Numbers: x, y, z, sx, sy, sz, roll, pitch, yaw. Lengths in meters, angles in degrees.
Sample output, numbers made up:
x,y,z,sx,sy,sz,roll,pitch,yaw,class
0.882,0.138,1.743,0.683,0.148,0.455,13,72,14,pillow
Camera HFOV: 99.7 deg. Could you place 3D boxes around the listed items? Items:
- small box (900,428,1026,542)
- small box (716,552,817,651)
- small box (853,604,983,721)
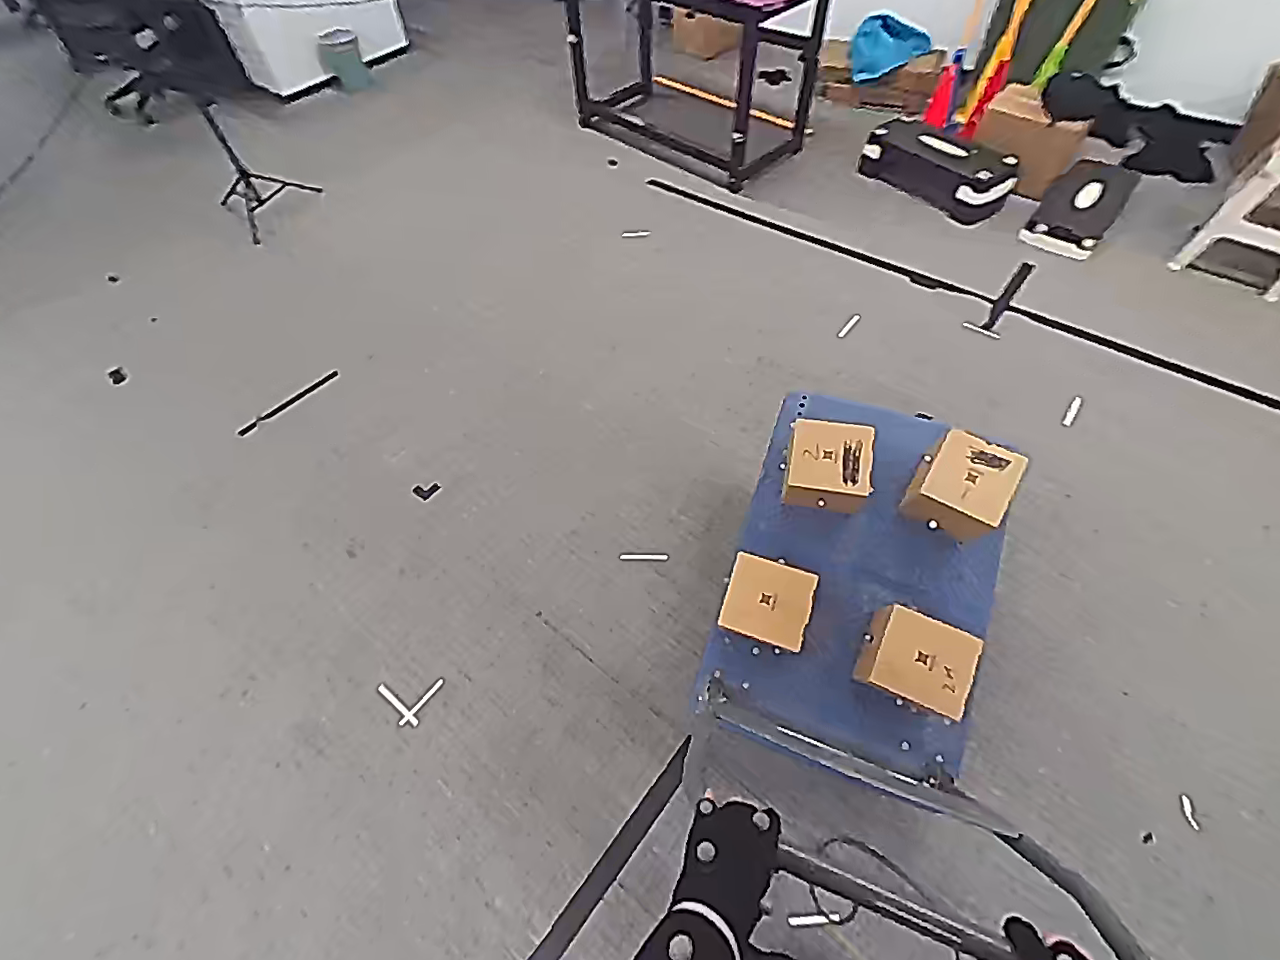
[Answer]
x,y,z,sx,sy,sz,roll,pitch,yaw,class
0.720,0.017,1.225,0.168,0.176,0.179,28,79,16,small box
0.276,0.277,1.209,0.179,0.176,0.168,17,75,12,small box
0.567,0.379,1.129,0.179,0.176,0.168,23,77,15,small box
